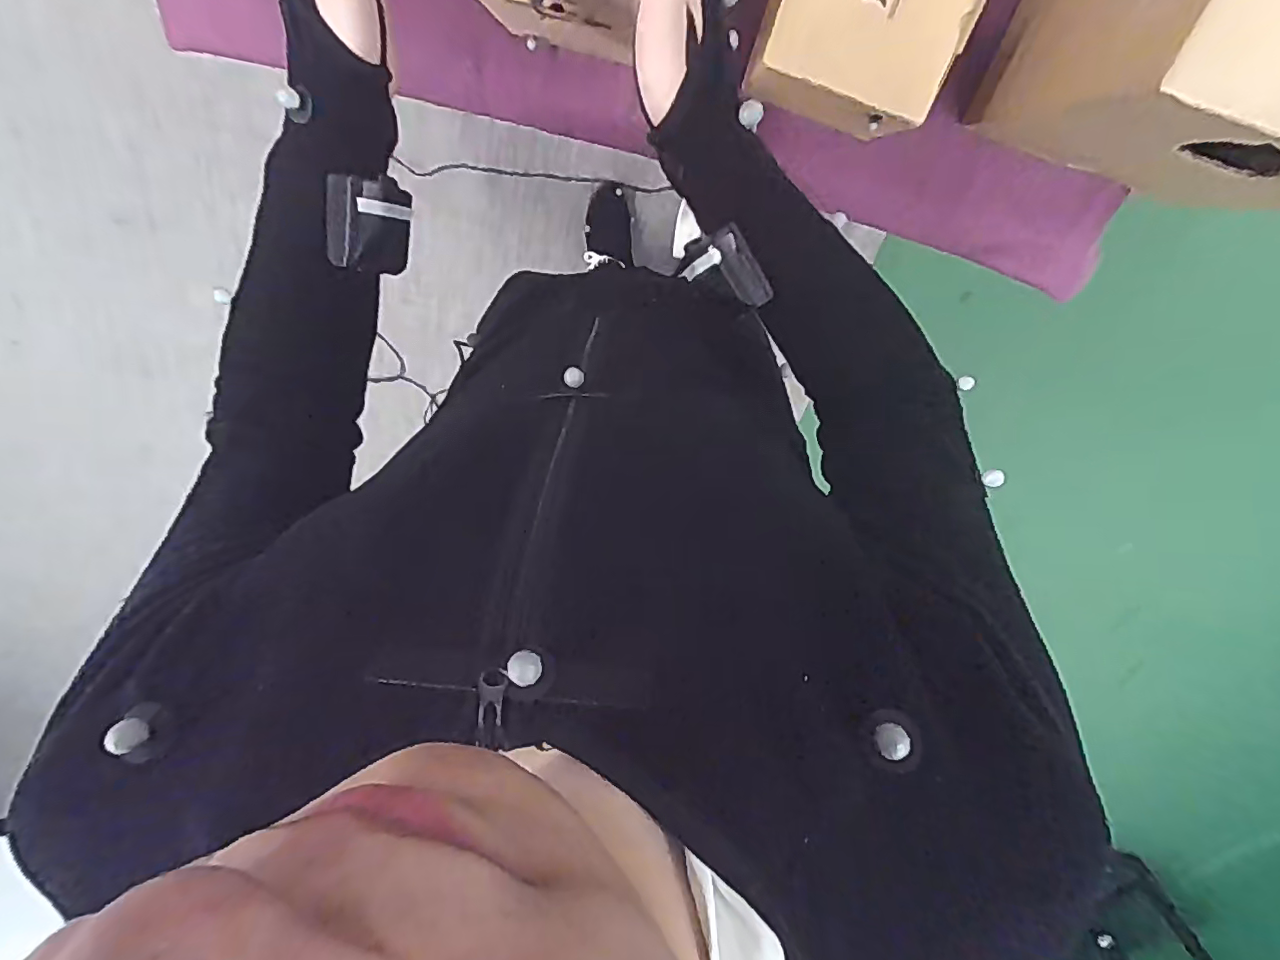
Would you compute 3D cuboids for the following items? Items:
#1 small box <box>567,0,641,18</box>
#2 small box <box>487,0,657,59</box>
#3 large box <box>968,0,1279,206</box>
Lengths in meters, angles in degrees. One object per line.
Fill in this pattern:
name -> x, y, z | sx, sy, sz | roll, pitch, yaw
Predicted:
small box -> -0.061, -0.474, 0.378 | 0.168, 0.176, 0.179 | 15, 119, -5
small box -> -0.057, -0.545, 0.527 | 0.168, 0.176, 0.179 | 11, 118, -5
large box -> 0.590, -0.492, 0.459 | 0.320, 0.320, 0.408 | 15, 120, -5
